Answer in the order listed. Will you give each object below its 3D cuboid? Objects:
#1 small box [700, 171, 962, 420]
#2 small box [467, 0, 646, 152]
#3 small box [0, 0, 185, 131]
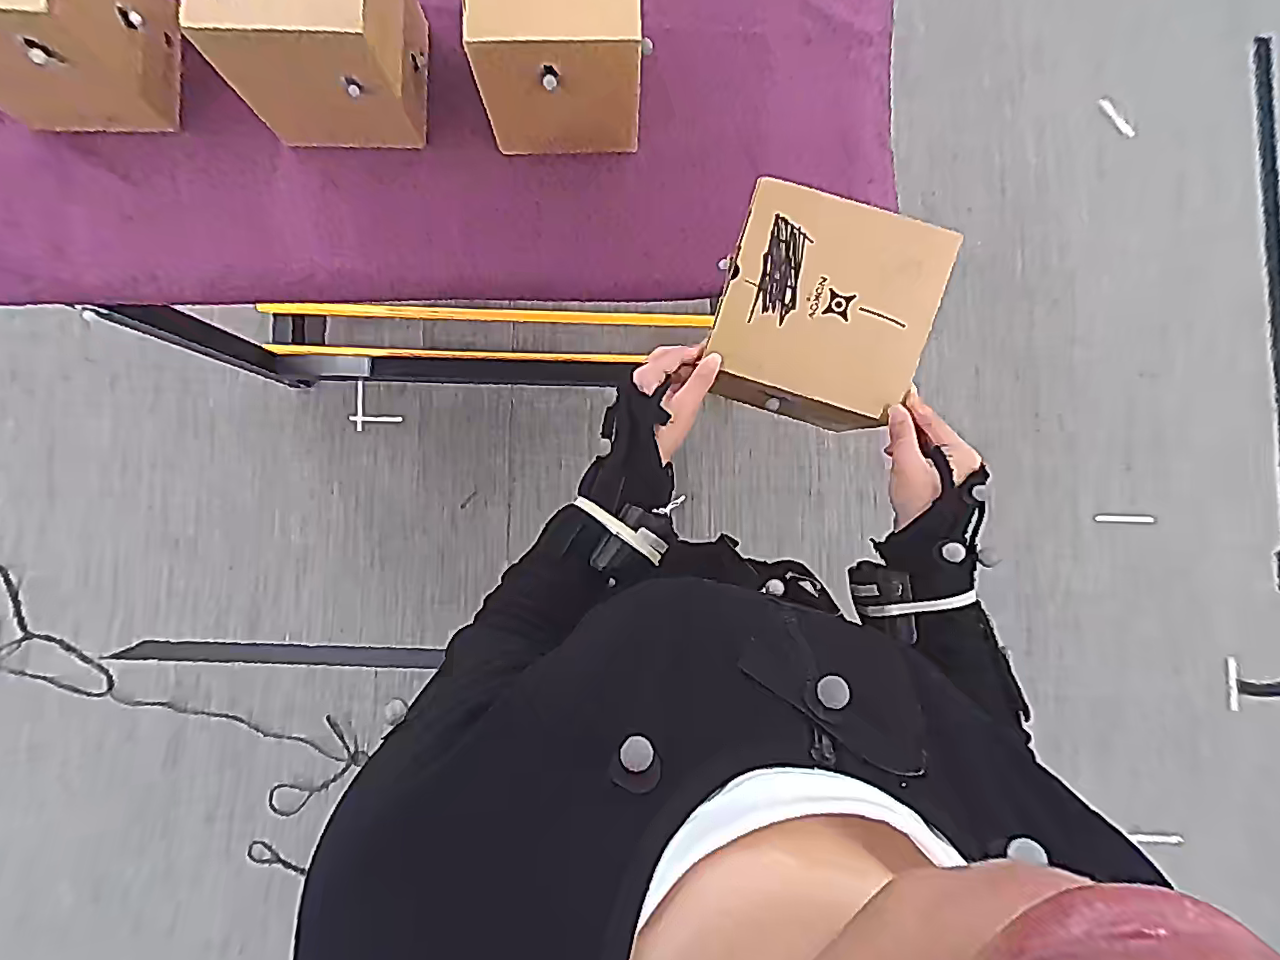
[{"bbox_3d":[0.164,-0.161,0.533,0.179,0.176,0.168,18,94,2],"label":"small box"},{"bbox_3d":[-0.084,-0.502,0.612,0.179,0.176,0.168,-1,86,0],"label":"small box"},{"bbox_3d":[-0.653,-0.520,0.598,0.179,0.176,0.168,-1,86,-3],"label":"small box"}]
